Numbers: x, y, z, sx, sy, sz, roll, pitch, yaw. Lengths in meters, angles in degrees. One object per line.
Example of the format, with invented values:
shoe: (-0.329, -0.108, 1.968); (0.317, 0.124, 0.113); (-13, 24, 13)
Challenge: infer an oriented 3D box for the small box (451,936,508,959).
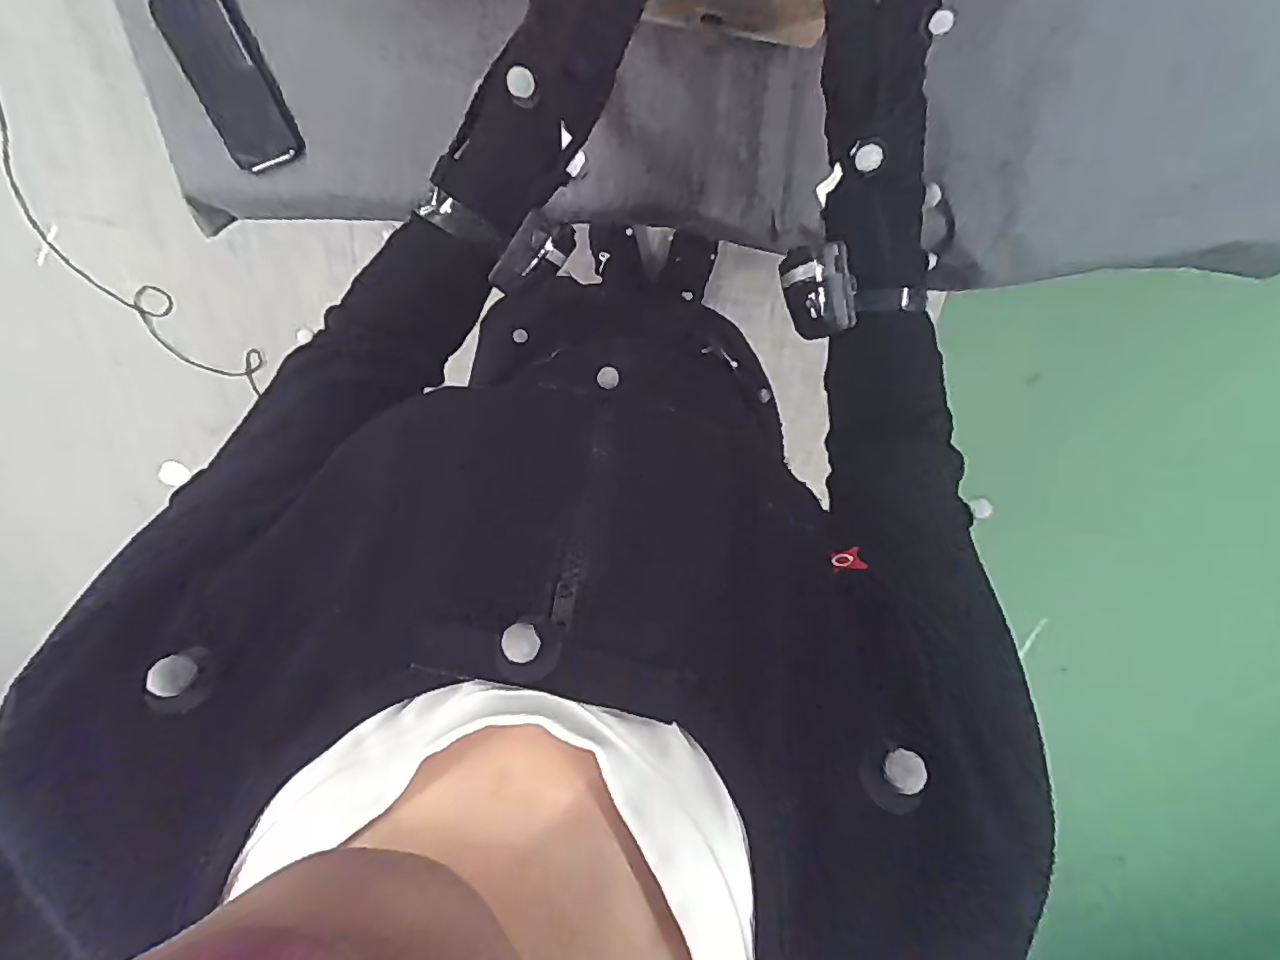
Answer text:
small box: (-0.530, 1.618, 1.748); (0.179, 0.176, 0.168); (5, 115, 0)

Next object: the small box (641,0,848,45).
small box: (0.085, -0.445, 0.374); (0.168, 0.176, 0.179); (7, 114, -2)
